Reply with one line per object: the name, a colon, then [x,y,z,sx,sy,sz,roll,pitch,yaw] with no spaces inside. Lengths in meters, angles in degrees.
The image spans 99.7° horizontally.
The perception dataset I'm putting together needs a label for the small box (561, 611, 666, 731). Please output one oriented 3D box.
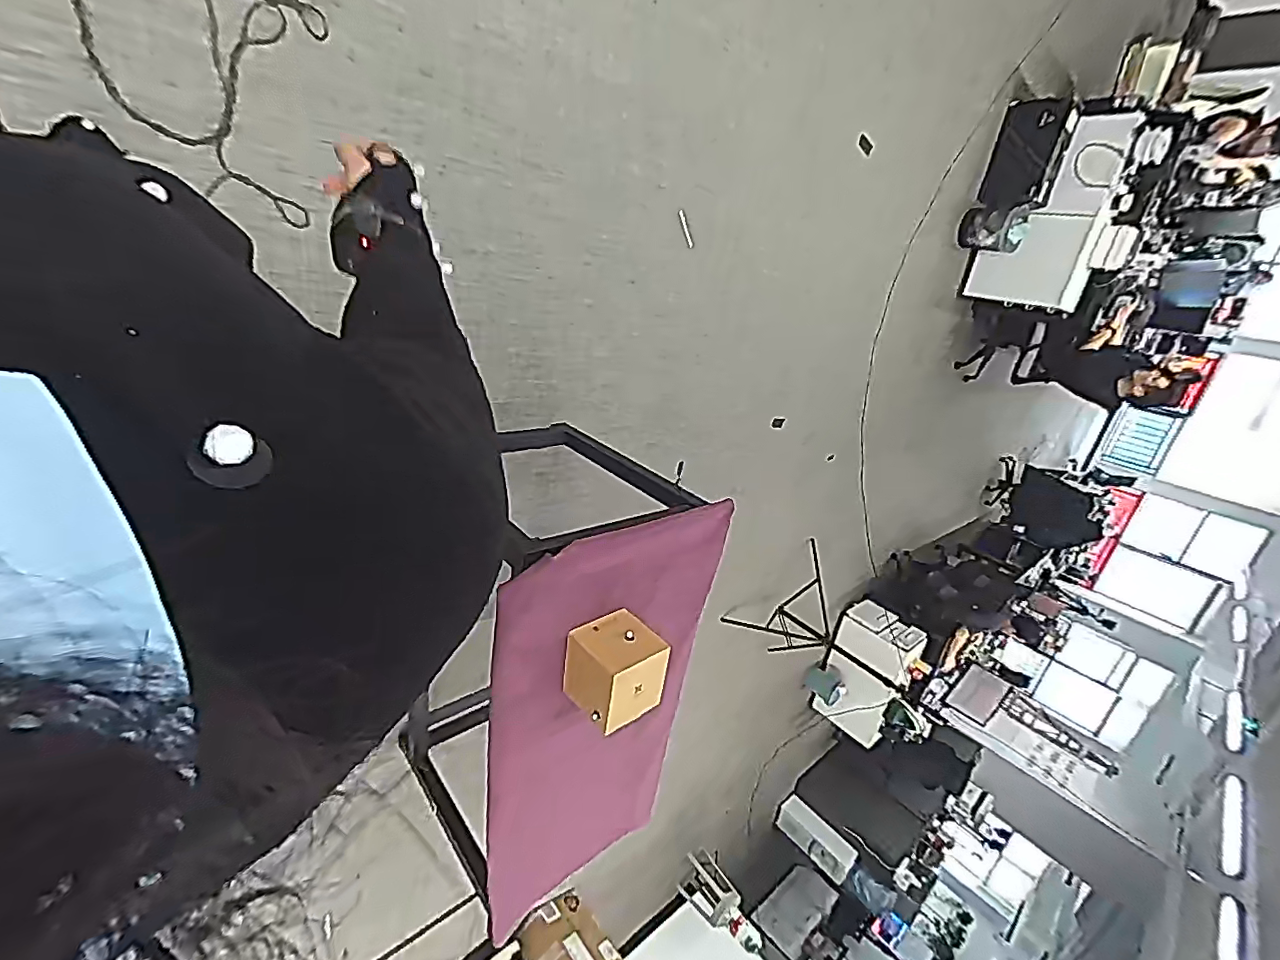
small box: [-0.066,0.422,1.237,0.168,0.176,0.179,-14,122,-40]
